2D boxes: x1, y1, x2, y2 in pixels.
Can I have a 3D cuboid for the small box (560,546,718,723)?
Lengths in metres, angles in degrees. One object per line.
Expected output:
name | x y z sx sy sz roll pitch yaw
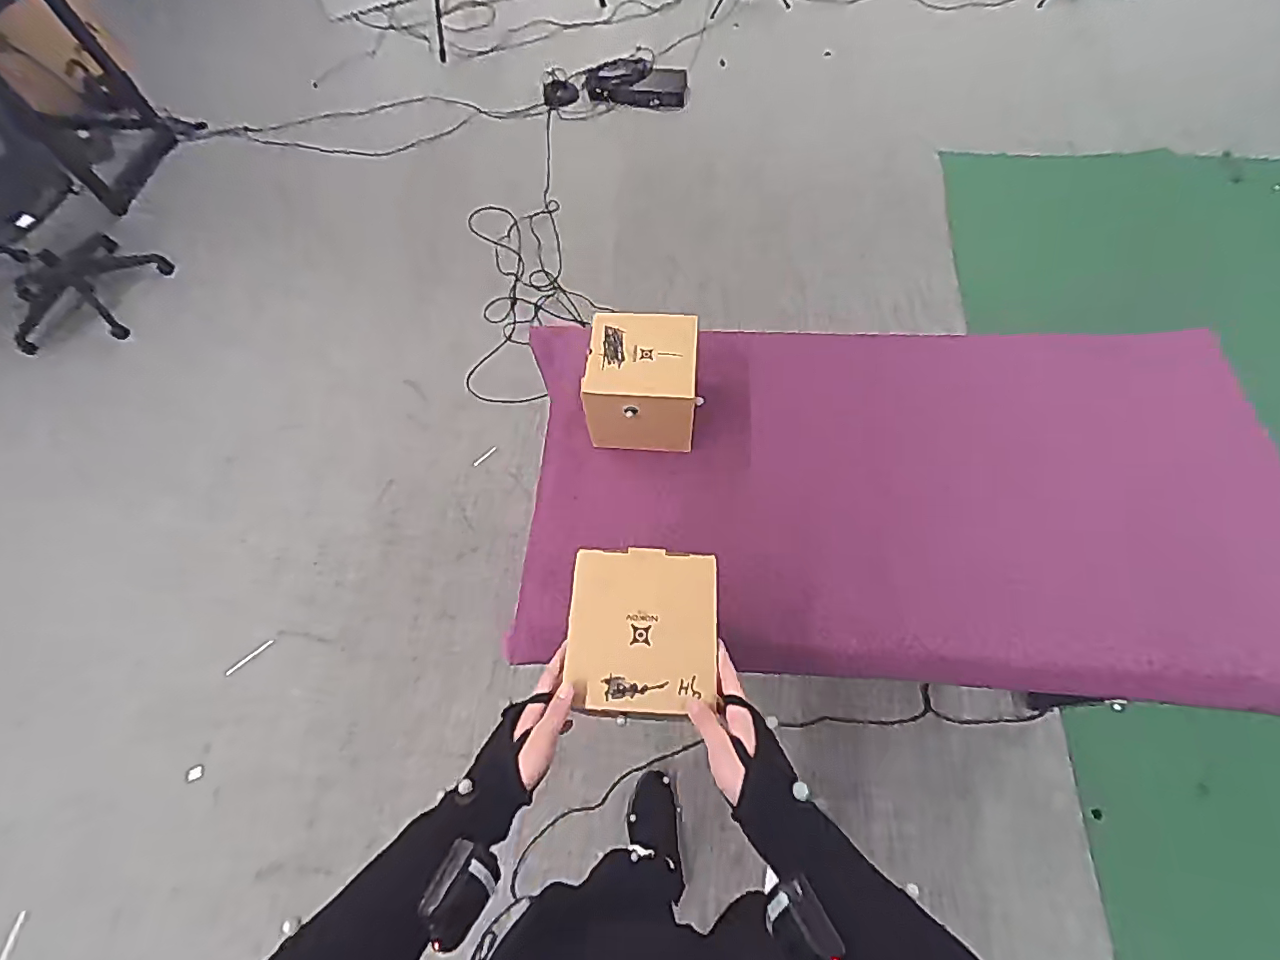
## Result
small box | 0.005 0.194 0.663 0.168 0.176 0.179 2 64 4

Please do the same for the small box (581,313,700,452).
small box | 0.008 -0.160 0.916 0.179 0.176 0.168 3 64 4
